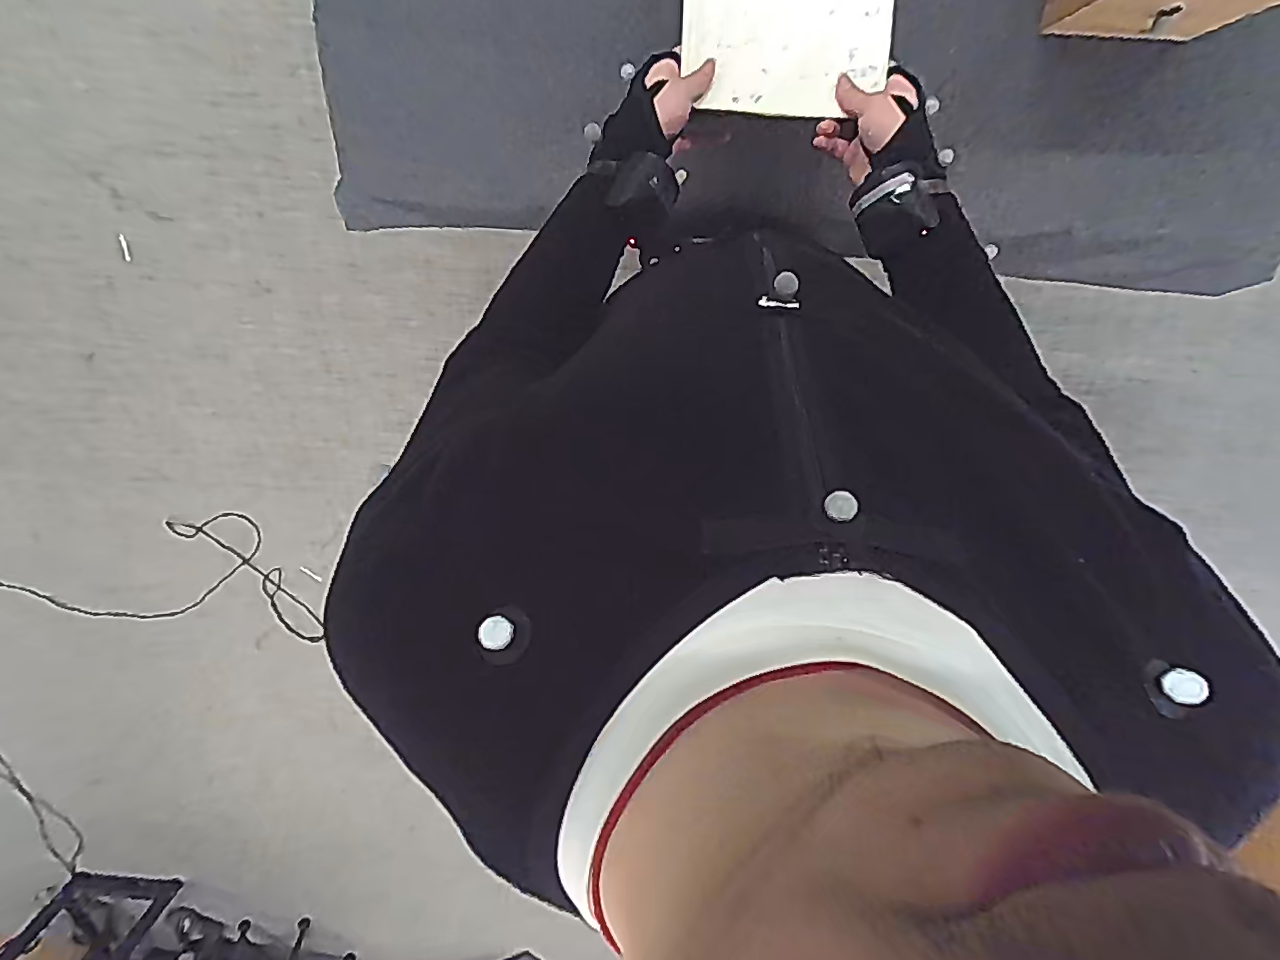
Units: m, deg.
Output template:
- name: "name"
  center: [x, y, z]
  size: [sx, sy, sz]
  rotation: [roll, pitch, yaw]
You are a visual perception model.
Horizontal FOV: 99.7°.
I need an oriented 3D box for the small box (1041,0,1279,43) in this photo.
- name: "small box"
  center: [0.521, -0.533, 0.499]
  size: [0.168, 0.176, 0.179]
  rotation: [4, 116, 2]
